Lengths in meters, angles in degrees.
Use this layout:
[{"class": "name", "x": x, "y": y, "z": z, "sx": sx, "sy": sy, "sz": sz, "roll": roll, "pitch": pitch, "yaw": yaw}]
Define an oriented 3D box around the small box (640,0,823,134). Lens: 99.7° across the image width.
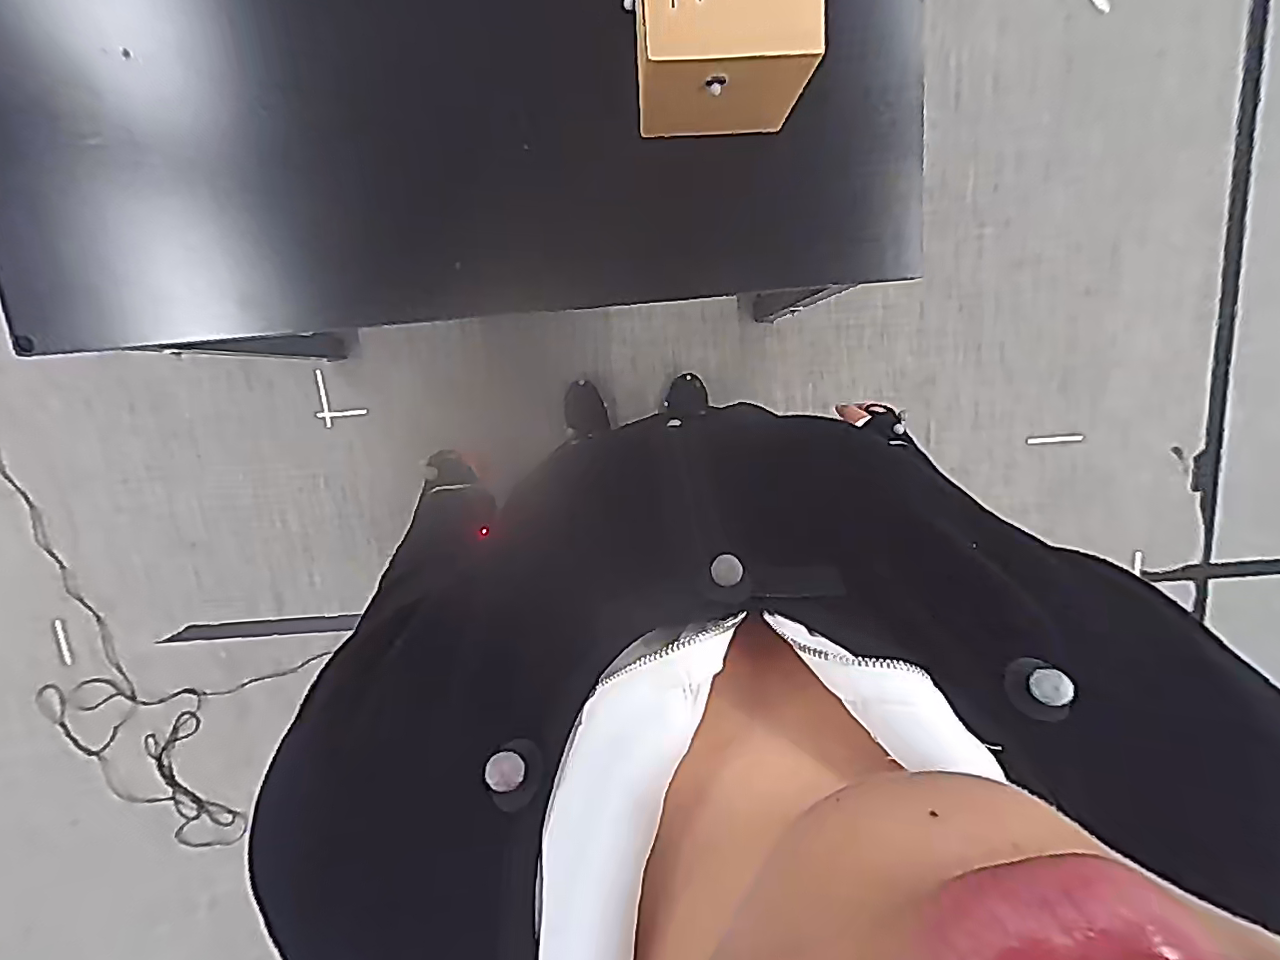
[{"class": "small box", "x": 0.089, "y": -0.507, "z": 0.597, "sx": 0.179, "sy": 0.176, "sz": 0.168, "roll": -3, "pitch": 100, "yaw": -1}]
